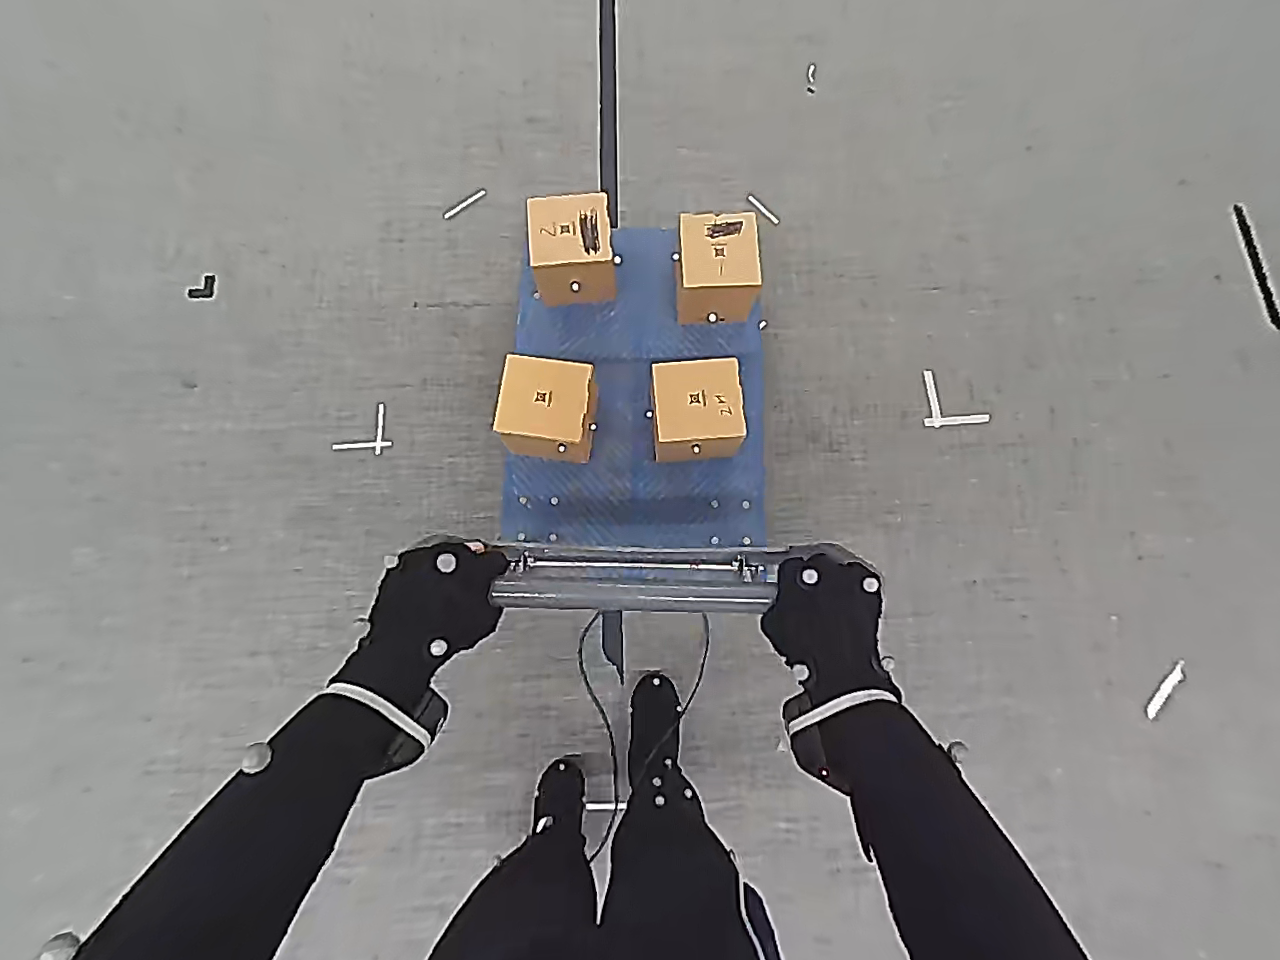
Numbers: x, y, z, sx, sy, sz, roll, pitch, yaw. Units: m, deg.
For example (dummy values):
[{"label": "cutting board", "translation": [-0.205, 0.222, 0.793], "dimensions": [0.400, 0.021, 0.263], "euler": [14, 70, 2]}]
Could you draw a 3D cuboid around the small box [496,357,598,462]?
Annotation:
[{"label": "small box", "translation": [-0.189, -0.143, 1.152], "dimensions": [0.179, 0.176, 0.168], "euler": [7, 77, 0]}]

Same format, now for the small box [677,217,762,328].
[{"label": "small box", "translation": [0.173, -0.464, 1.222], "dimensions": [0.168, 0.176, 0.179], "euler": [-1, 79, 0]}]

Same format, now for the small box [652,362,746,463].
[{"label": "small box", "translation": [0.118, -0.137, 1.152], "dimensions": [0.179, 0.176, 0.168], "euler": [-4, 78, -1]}]
